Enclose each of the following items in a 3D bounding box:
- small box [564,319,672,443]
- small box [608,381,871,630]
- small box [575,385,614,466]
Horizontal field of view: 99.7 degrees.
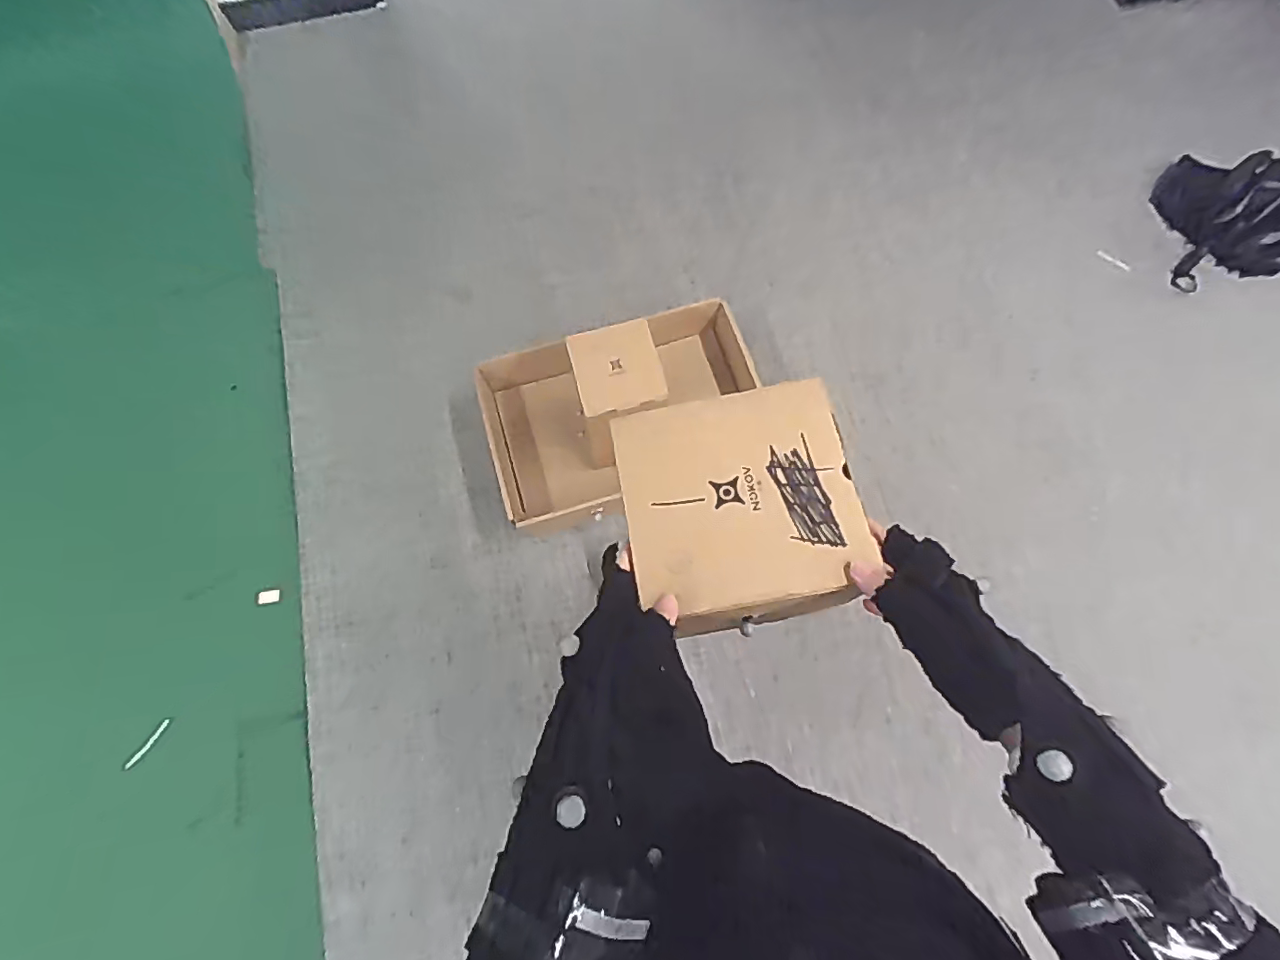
[{"bbox_3d":[-0.041,-0.189,1.095,0.168,0.176,0.179,-19,76,-5],"label":"small box"},{"bbox_3d":[0.078,0.036,0.493,0.179,0.176,0.168,-11,69,3],"label":"small box"},{"bbox_3d":[-0.044,-0.143,1.268,0.168,0.176,0.179,-16,75,-4],"label":"small box"}]
